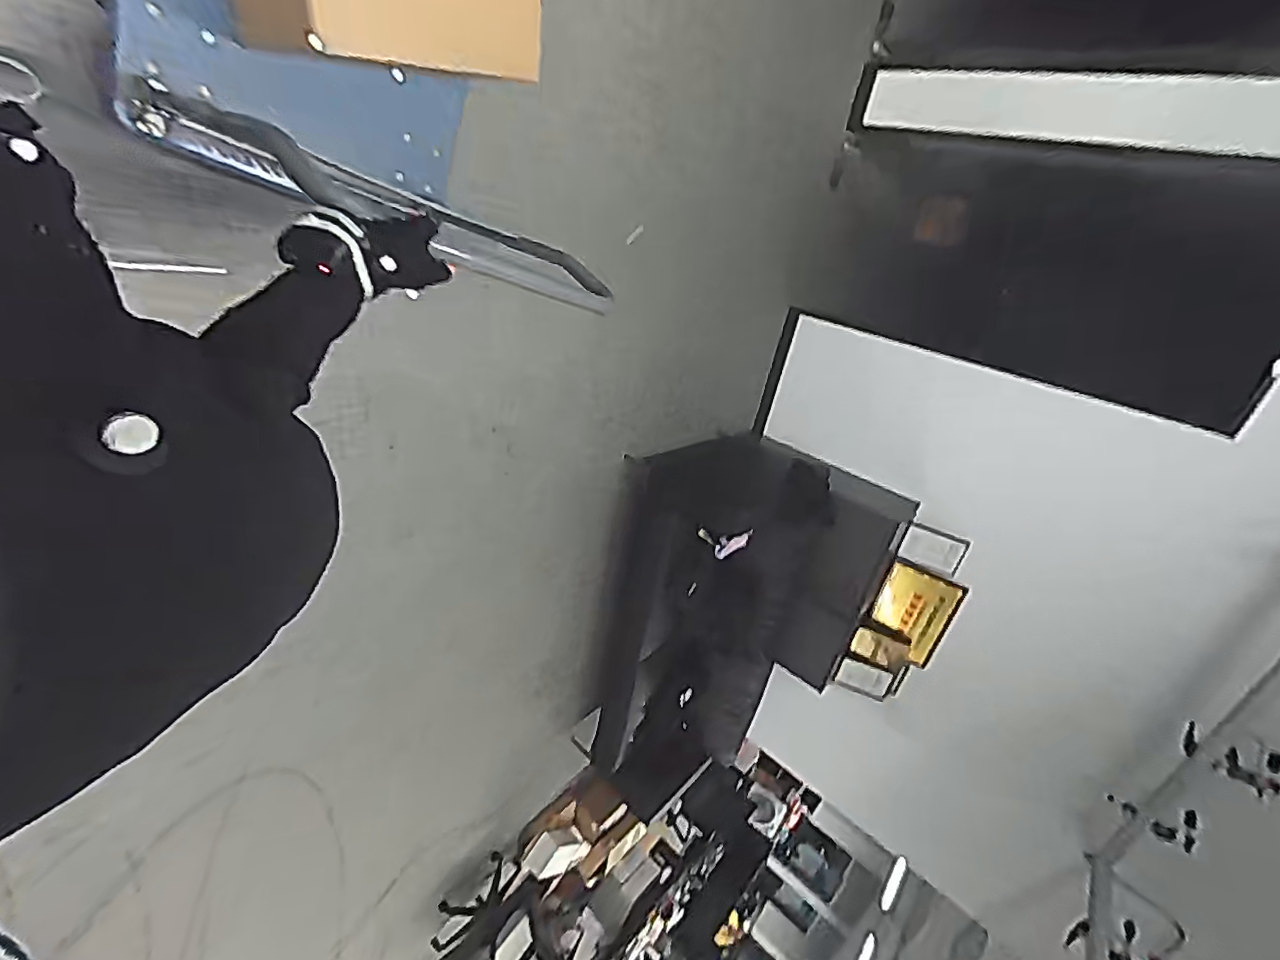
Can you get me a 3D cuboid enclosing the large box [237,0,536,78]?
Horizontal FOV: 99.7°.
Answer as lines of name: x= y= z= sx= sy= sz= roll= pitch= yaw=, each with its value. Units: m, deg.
large box: x=-0.430 y=-0.885 z=0.903 sx=0.408 sy=0.320 sz=0.320 roll=-28 pitch=136 yaw=-38
